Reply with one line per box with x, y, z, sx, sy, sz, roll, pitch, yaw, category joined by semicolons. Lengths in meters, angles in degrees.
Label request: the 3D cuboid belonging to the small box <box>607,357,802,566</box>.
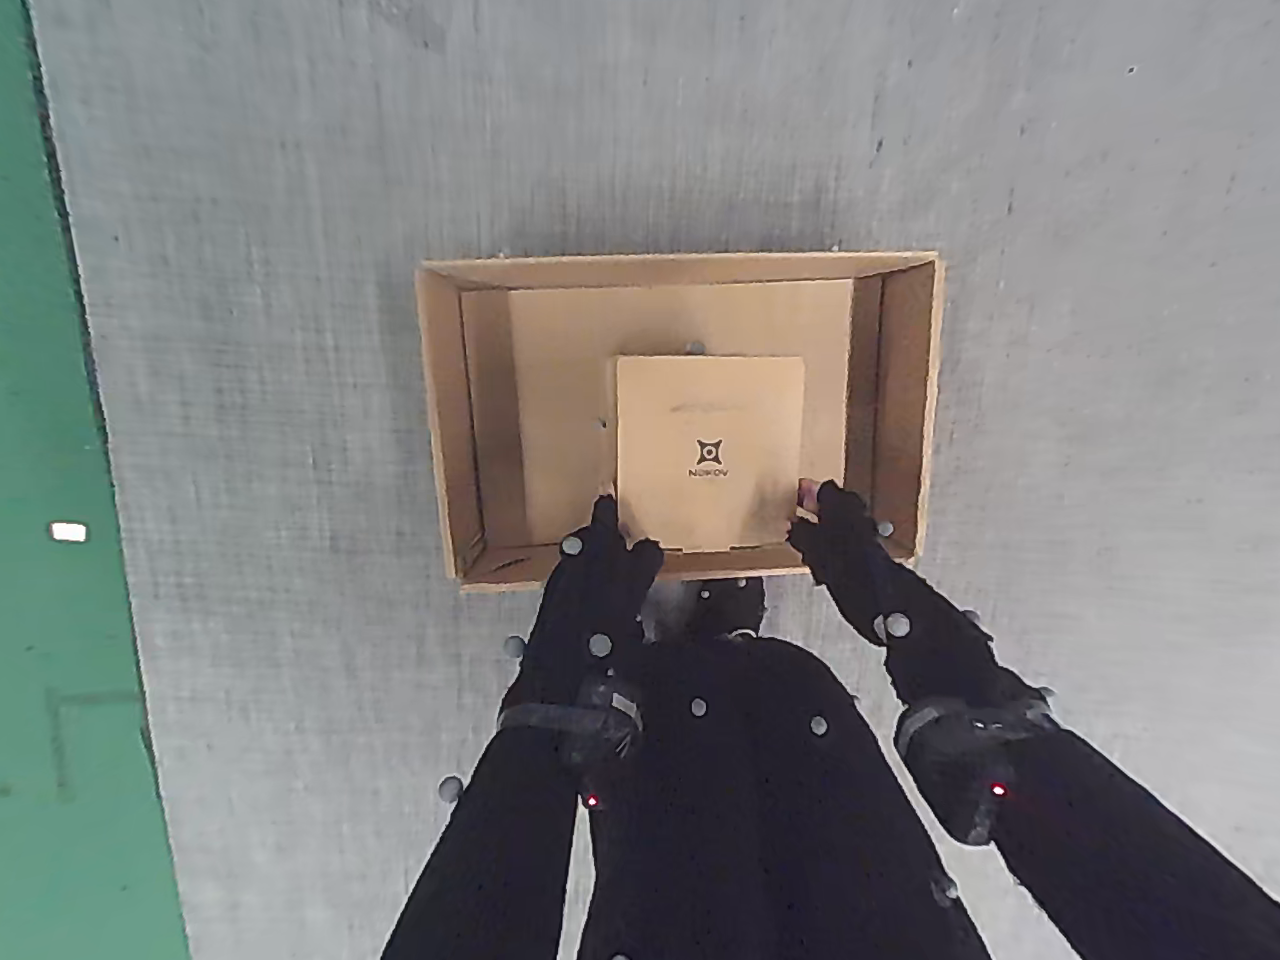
0.057;-0.030;0.550;0.168;0.176;0.179;-5;103;-2;small box
